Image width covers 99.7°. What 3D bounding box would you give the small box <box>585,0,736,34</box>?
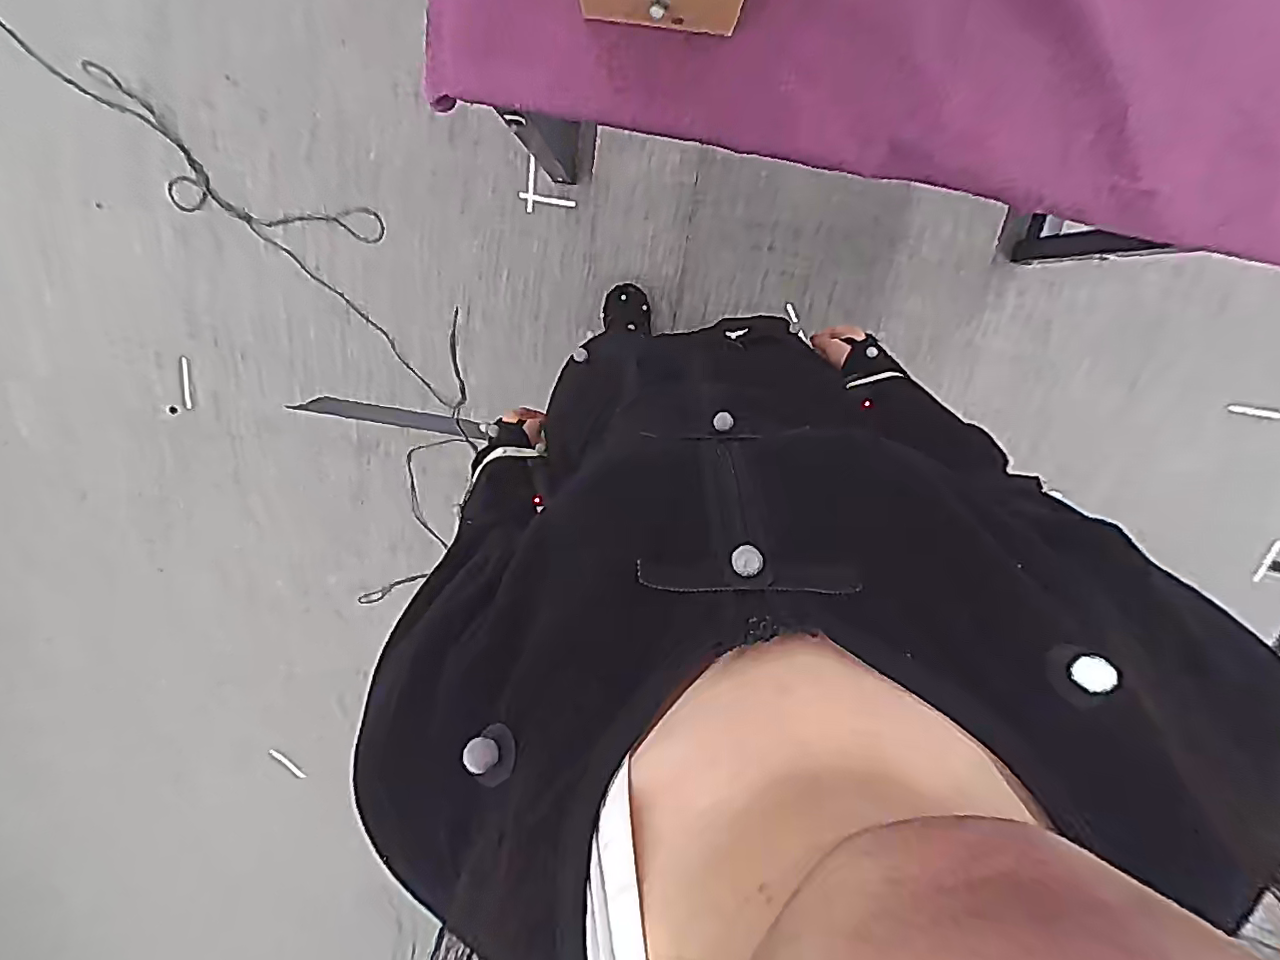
[{"bbox_3d":[0.025,-0.555,0.488,0.168,0.176,0.179,6,108,-2],"label":"small box"}]
